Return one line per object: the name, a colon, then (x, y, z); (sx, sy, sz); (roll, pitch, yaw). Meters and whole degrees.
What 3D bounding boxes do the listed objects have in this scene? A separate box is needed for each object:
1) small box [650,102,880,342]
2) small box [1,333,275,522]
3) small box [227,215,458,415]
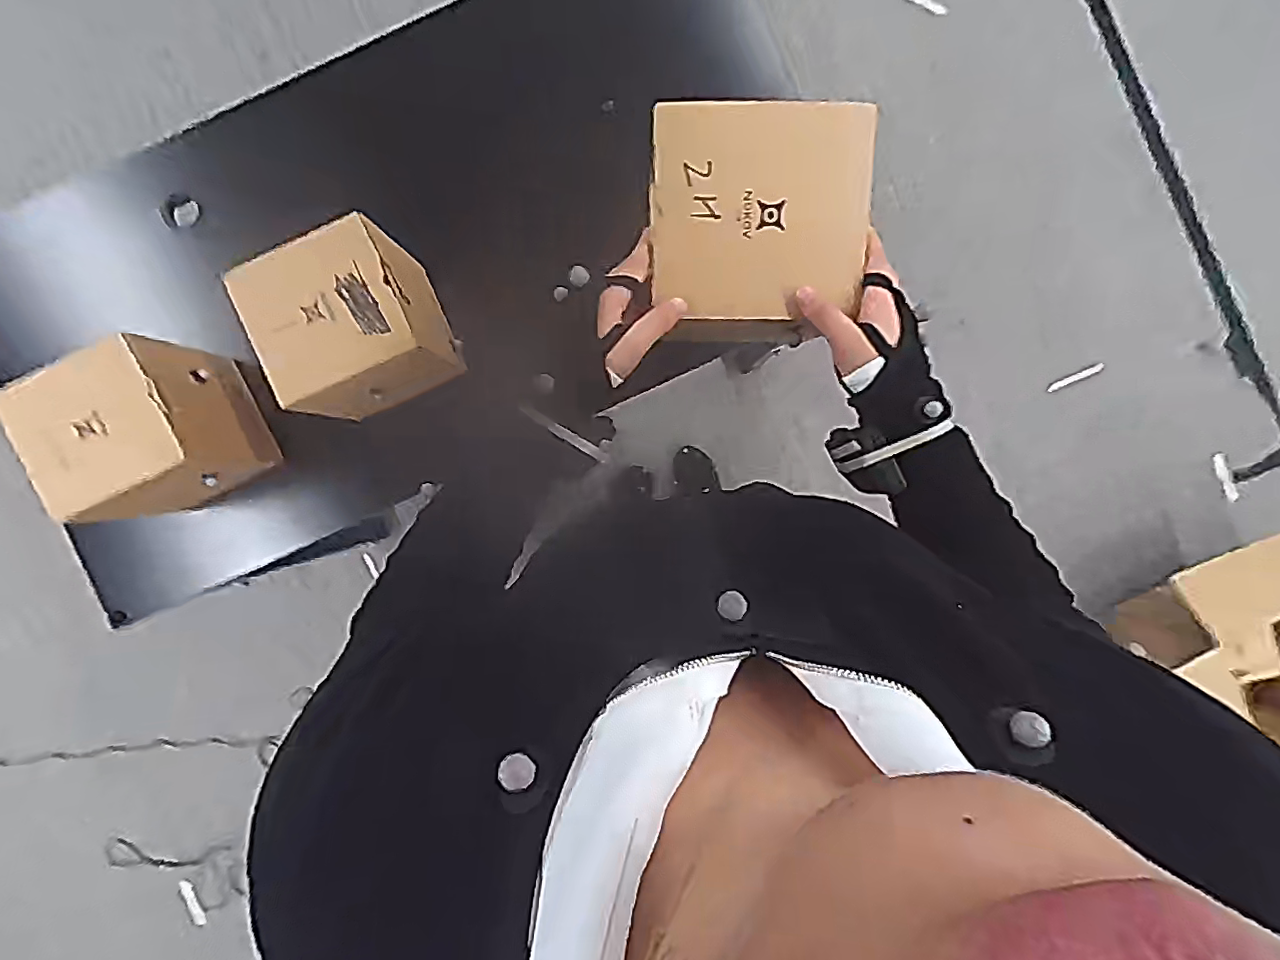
small box: (0.101, -0.226, 0.514); (0.179, 0.176, 0.168); (2, 99, 2)
small box: (-0.619, -0.063, 0.698); (0.179, 0.176, 0.168); (-27, 90, 2)
small box: (-0.355, -0.194, 0.688); (0.179, 0.176, 0.168); (-24, 91, 2)
